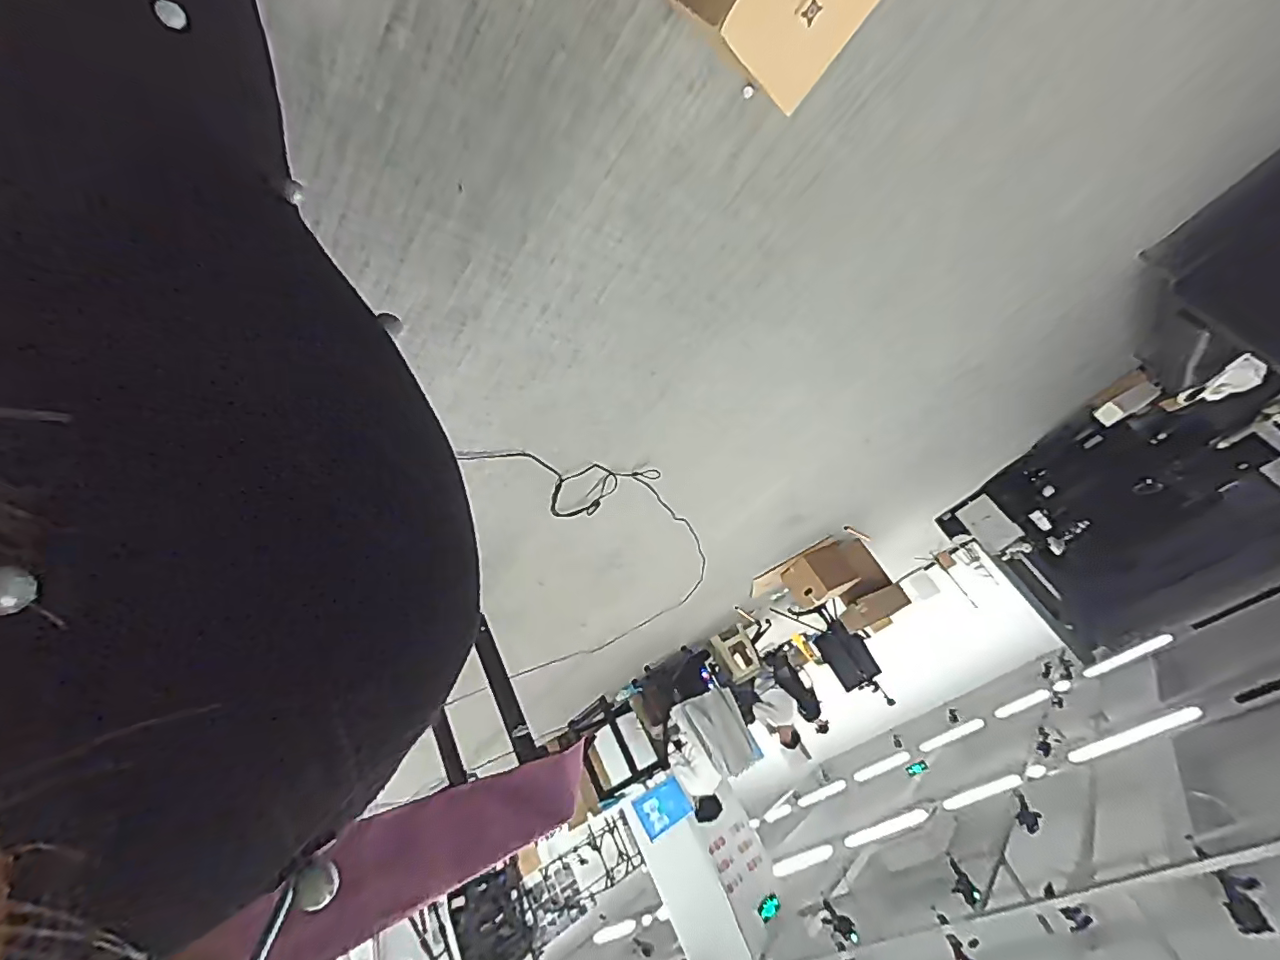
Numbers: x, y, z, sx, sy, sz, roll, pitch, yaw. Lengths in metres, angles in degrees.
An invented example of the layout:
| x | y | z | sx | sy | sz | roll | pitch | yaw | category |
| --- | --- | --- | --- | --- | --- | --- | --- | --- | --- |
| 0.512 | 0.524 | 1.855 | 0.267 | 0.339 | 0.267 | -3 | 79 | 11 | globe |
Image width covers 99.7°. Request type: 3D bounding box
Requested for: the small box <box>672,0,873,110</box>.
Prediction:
| x | y | z | sx | sy | sz | roll | pitch | yaw | category |
| --- | --- | --- | --- | --- | --- | --- | --- | --- | --- |
| 0.144 | -0.587 | 0.621 | 0.179 | 0.176 | 0.168 | 2 | 138 | -49 | small box |
